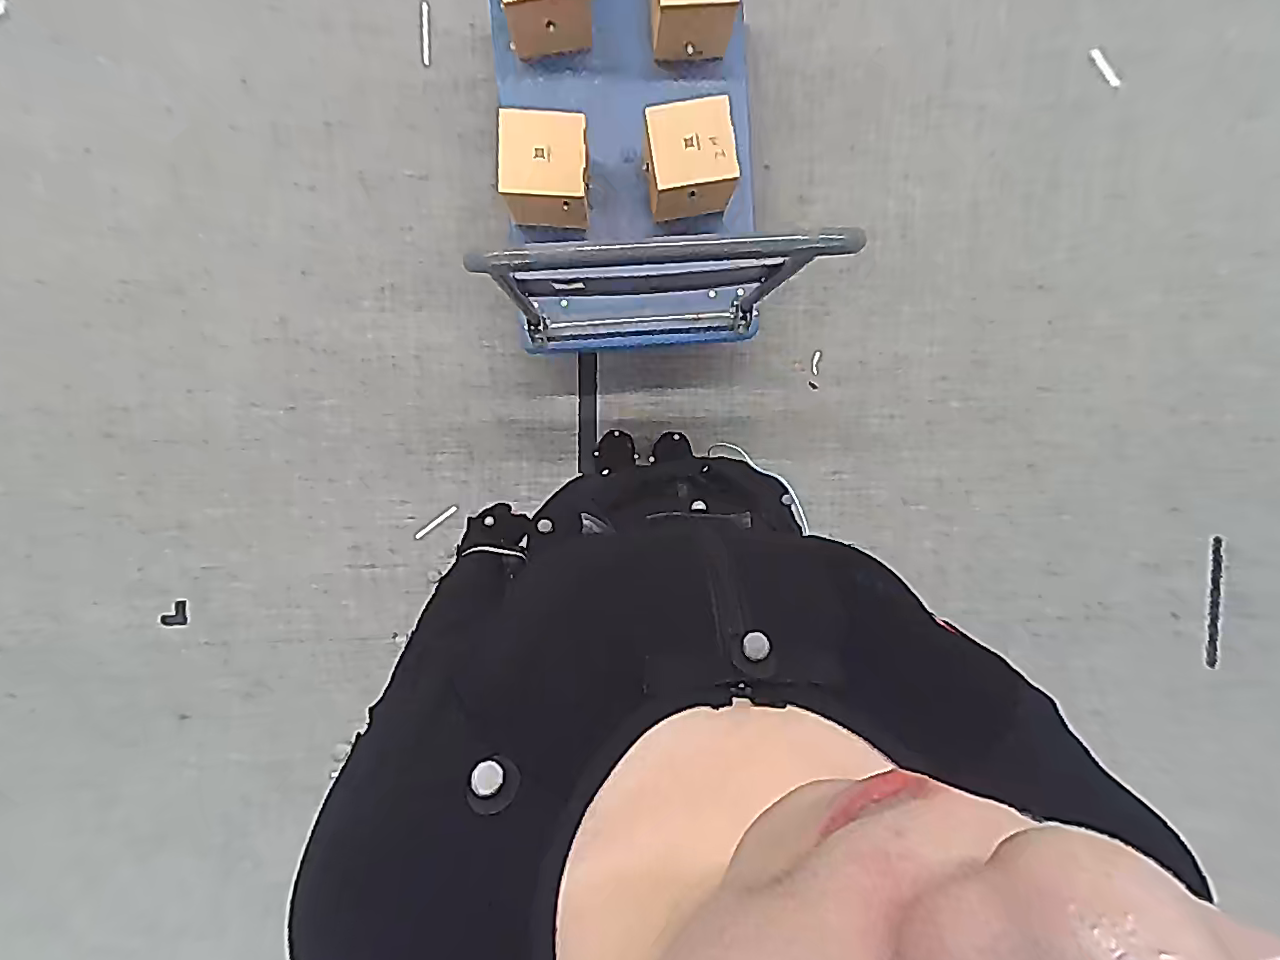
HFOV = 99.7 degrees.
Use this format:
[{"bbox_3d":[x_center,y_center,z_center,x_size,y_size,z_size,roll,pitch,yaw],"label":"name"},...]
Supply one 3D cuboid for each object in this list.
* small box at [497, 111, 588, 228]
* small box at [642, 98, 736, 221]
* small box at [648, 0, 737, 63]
[{"bbox_3d":[-0.205,-0.666,1.178,0.179,0.176,0.168,1,94,-4],"label":"small box"},{"bbox_3d":[0.100,-0.692,1.188,0.179,0.176,0.168,-10,95,-1],"label":"small box"},{"bbox_3d":[0.107,-1.044,1.161,0.168,0.176,0.179,-4,96,-2],"label":"small box"}]
